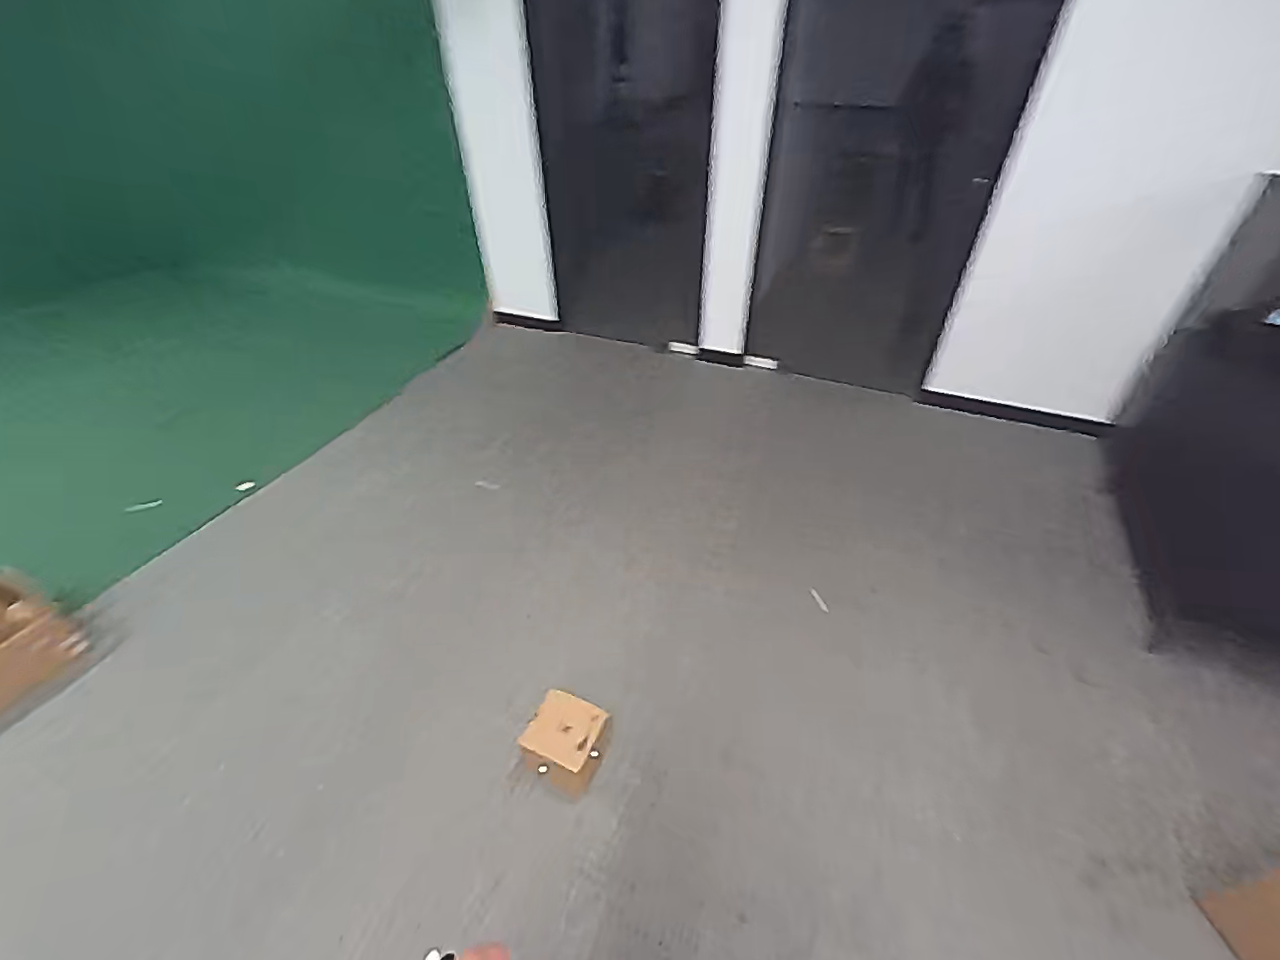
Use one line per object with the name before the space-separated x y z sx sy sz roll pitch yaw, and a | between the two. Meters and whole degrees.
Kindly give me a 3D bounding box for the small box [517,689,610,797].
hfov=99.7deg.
small box | -0.192 0.688 1.410 0.179 0.176 0.168 16 42 19
